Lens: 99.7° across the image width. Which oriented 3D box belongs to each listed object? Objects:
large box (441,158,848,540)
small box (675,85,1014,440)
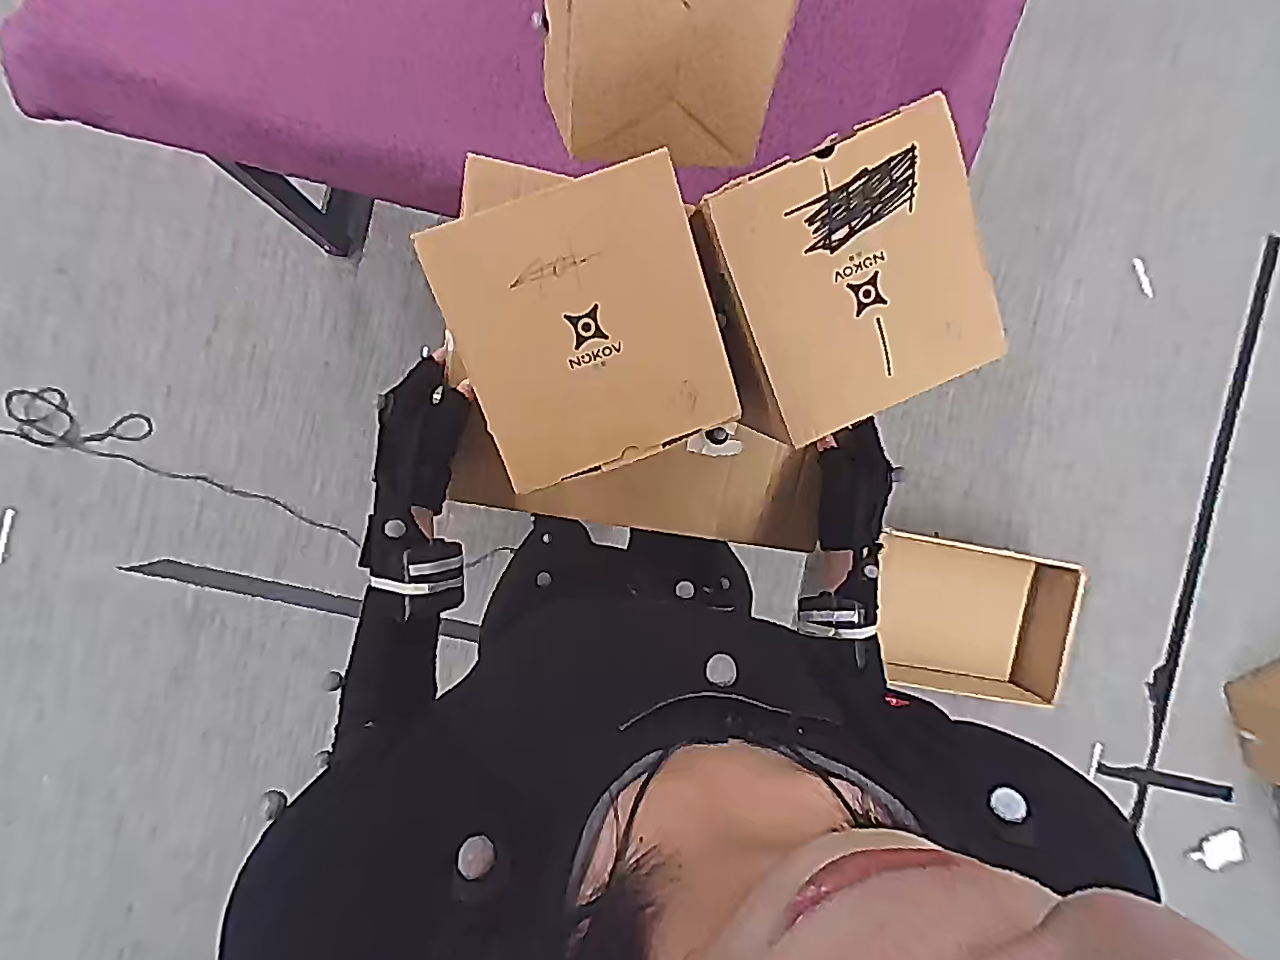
[{"bbox_3d":[0.004,-0.139,0.665,0.408,0.320,0.320,8,103,-9],"label":"large box"},{"bbox_3d":[0.139,-0.150,0.425,0.168,0.176,0.179,-24,105,0],"label":"small box"}]
